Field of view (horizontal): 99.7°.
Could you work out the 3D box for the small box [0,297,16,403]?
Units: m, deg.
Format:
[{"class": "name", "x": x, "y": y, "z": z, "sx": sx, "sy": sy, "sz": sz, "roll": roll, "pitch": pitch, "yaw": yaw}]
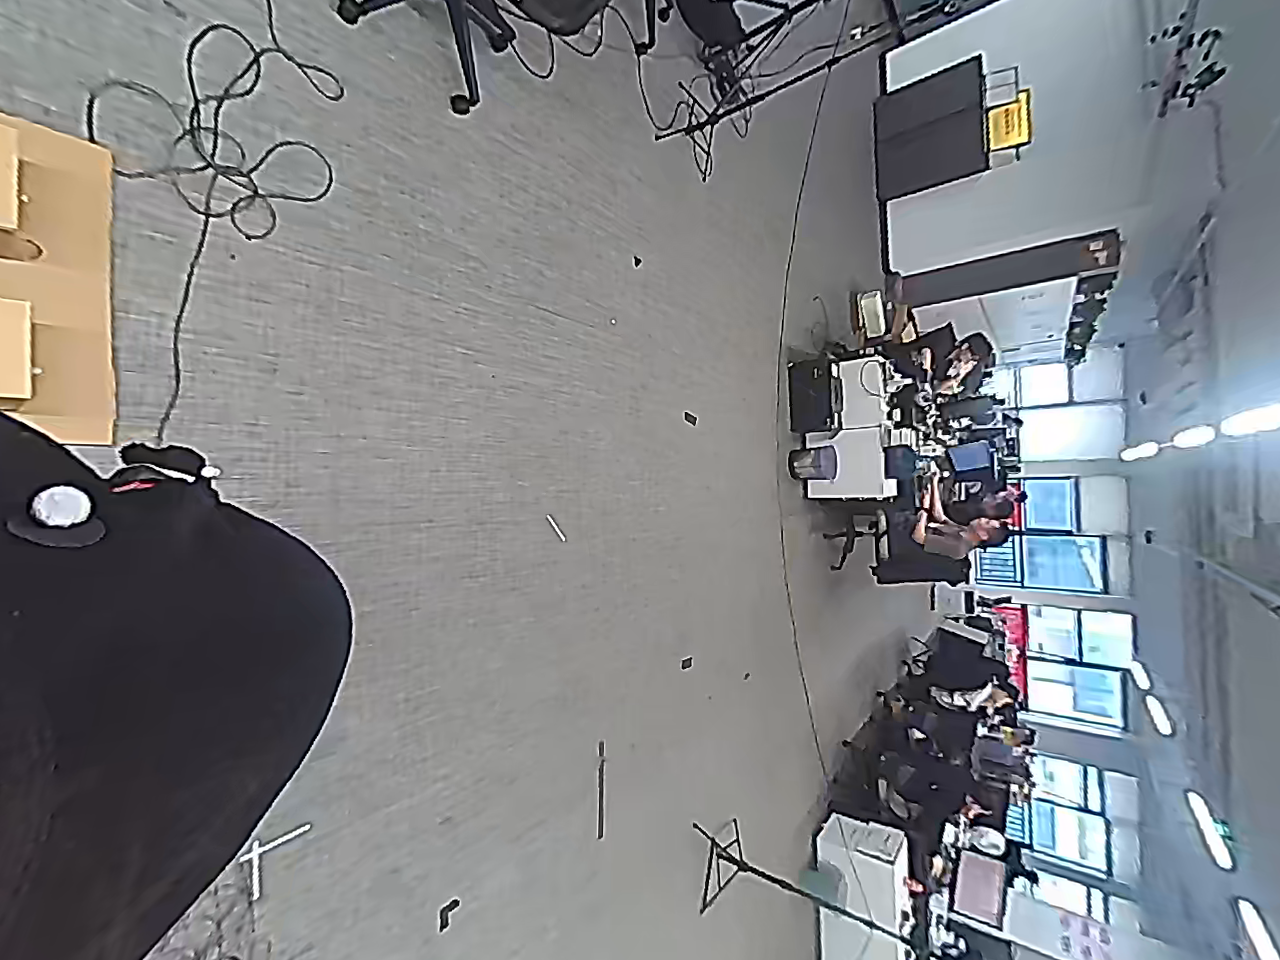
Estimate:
[{"class": "small box", "x": -1.150, "y": -0.218, "z": 0.875, "sx": 0.179, "sy": 0.176, "sz": 0.168, "roll": 0, "pitch": 89, "yaw": -51}]
